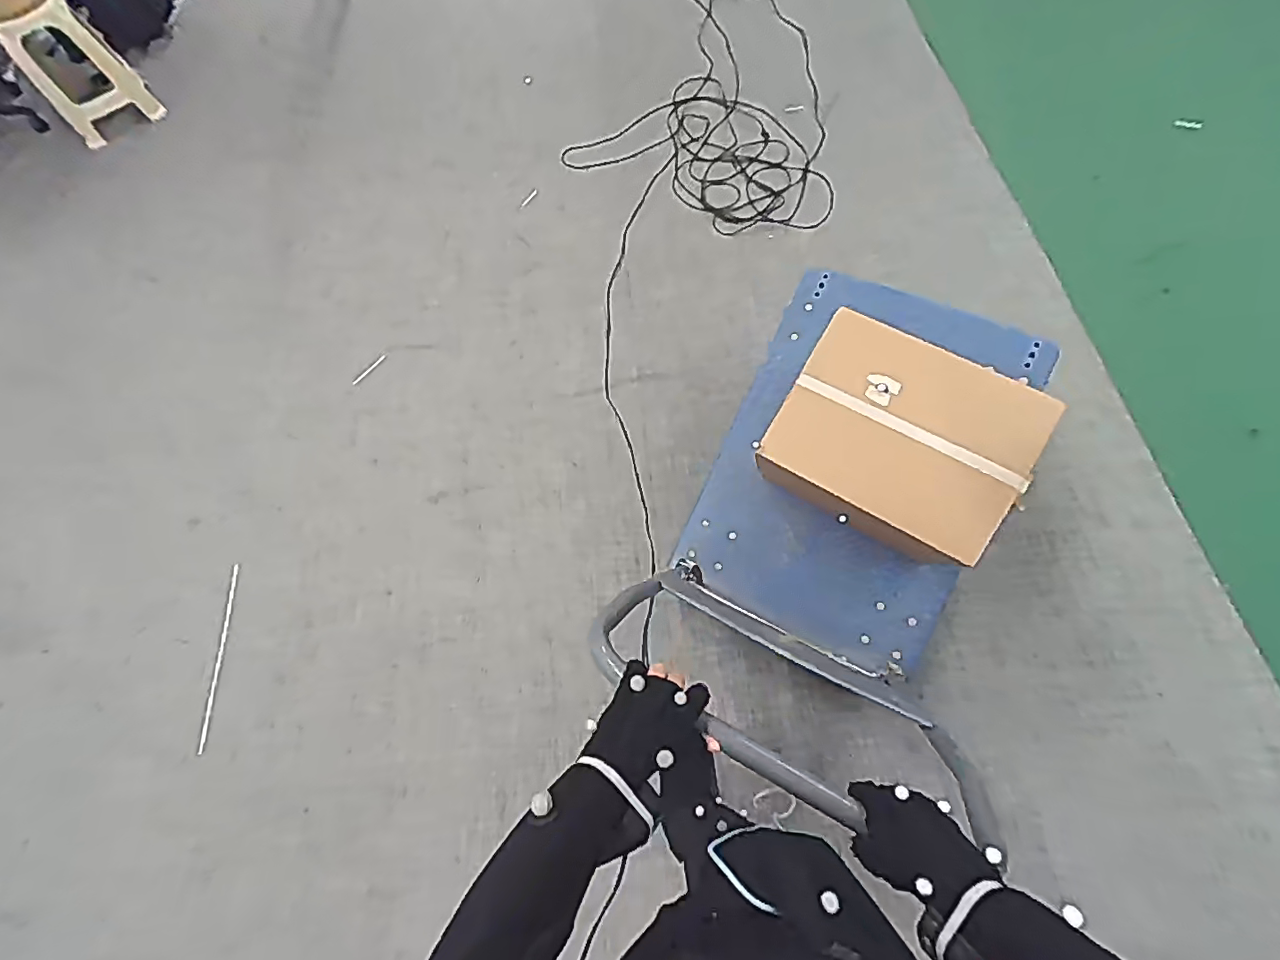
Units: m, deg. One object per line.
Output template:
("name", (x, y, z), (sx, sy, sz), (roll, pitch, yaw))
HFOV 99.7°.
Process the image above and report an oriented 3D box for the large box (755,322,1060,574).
("large box", (0.490, -0.048, 1.081), (0.408, 0.320, 0.320), (31, 90, 17))
